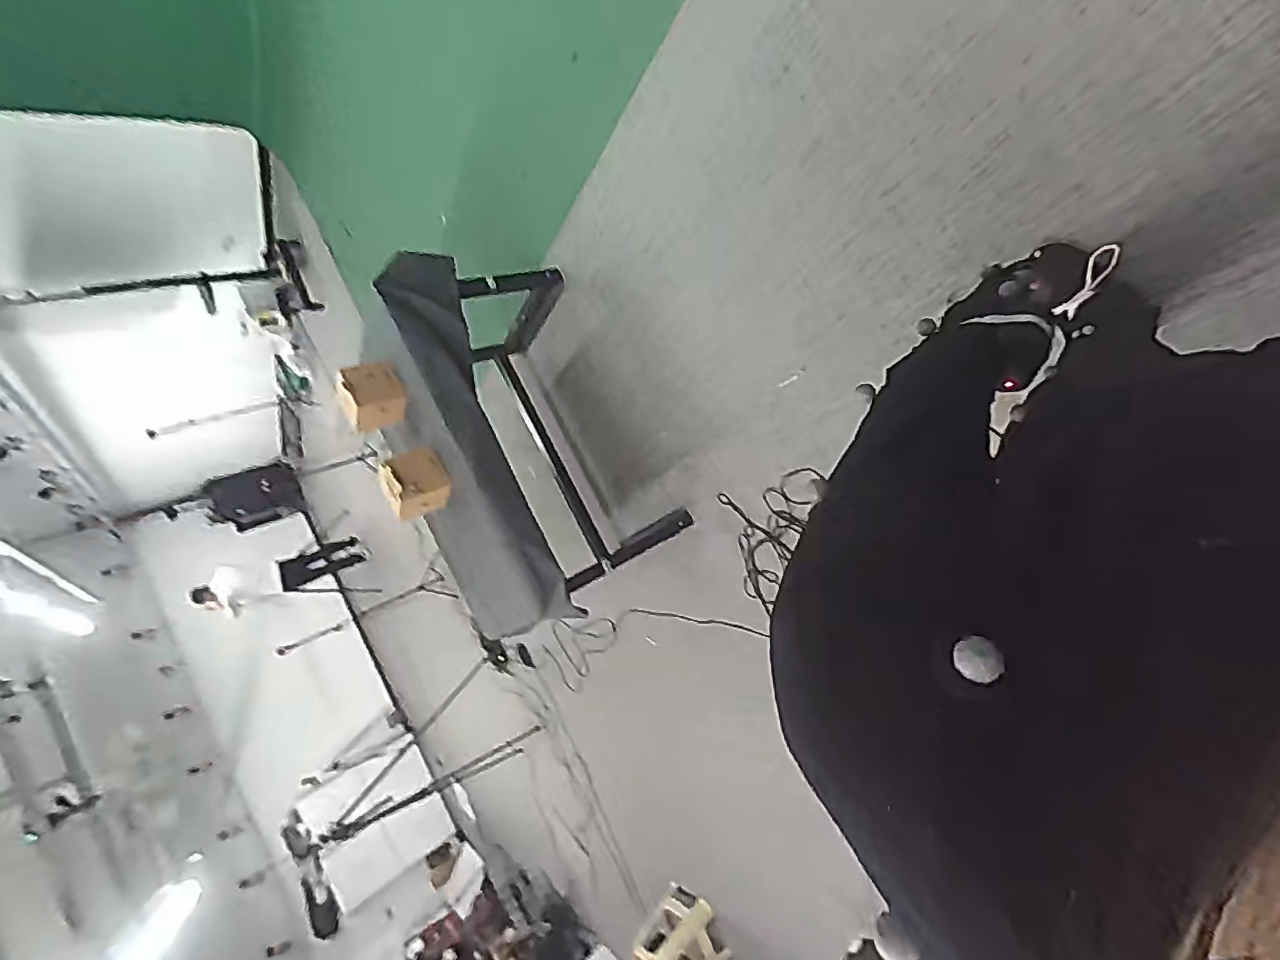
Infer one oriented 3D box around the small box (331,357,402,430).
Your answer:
[{"bbox_3d":[-0.942,-0.302,1.867,0.168,0.176,0.179,58,143,11],"label":"small box"}]
